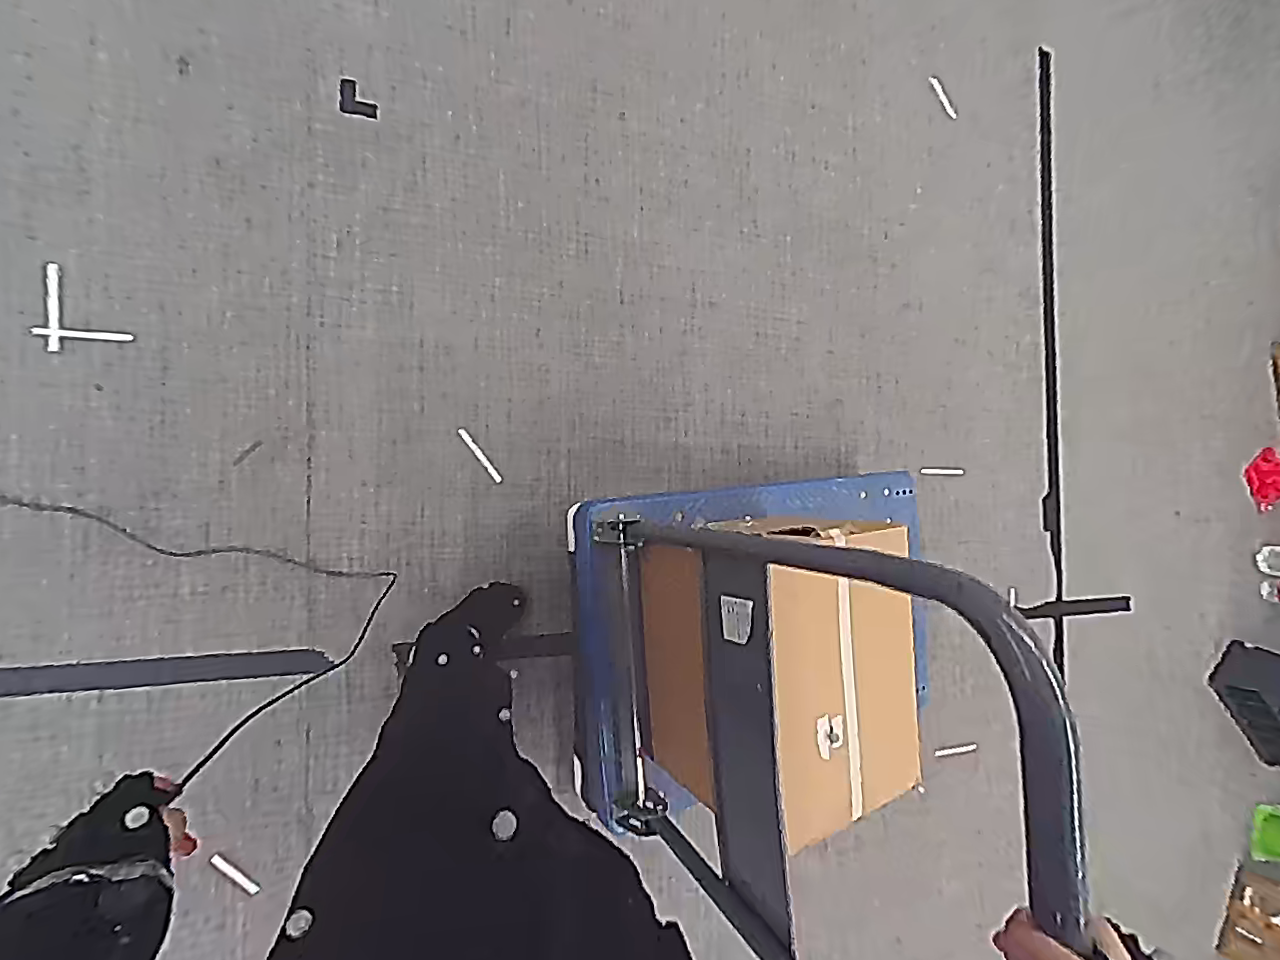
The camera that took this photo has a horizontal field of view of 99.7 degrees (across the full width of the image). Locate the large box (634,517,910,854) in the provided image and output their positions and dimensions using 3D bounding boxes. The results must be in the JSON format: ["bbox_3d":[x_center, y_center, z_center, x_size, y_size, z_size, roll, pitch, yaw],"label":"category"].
[{"bbox_3d":[0.205,0.280,0.897,0.320,0.320,0.408,-4,91,-29],"label":"large box"}]
